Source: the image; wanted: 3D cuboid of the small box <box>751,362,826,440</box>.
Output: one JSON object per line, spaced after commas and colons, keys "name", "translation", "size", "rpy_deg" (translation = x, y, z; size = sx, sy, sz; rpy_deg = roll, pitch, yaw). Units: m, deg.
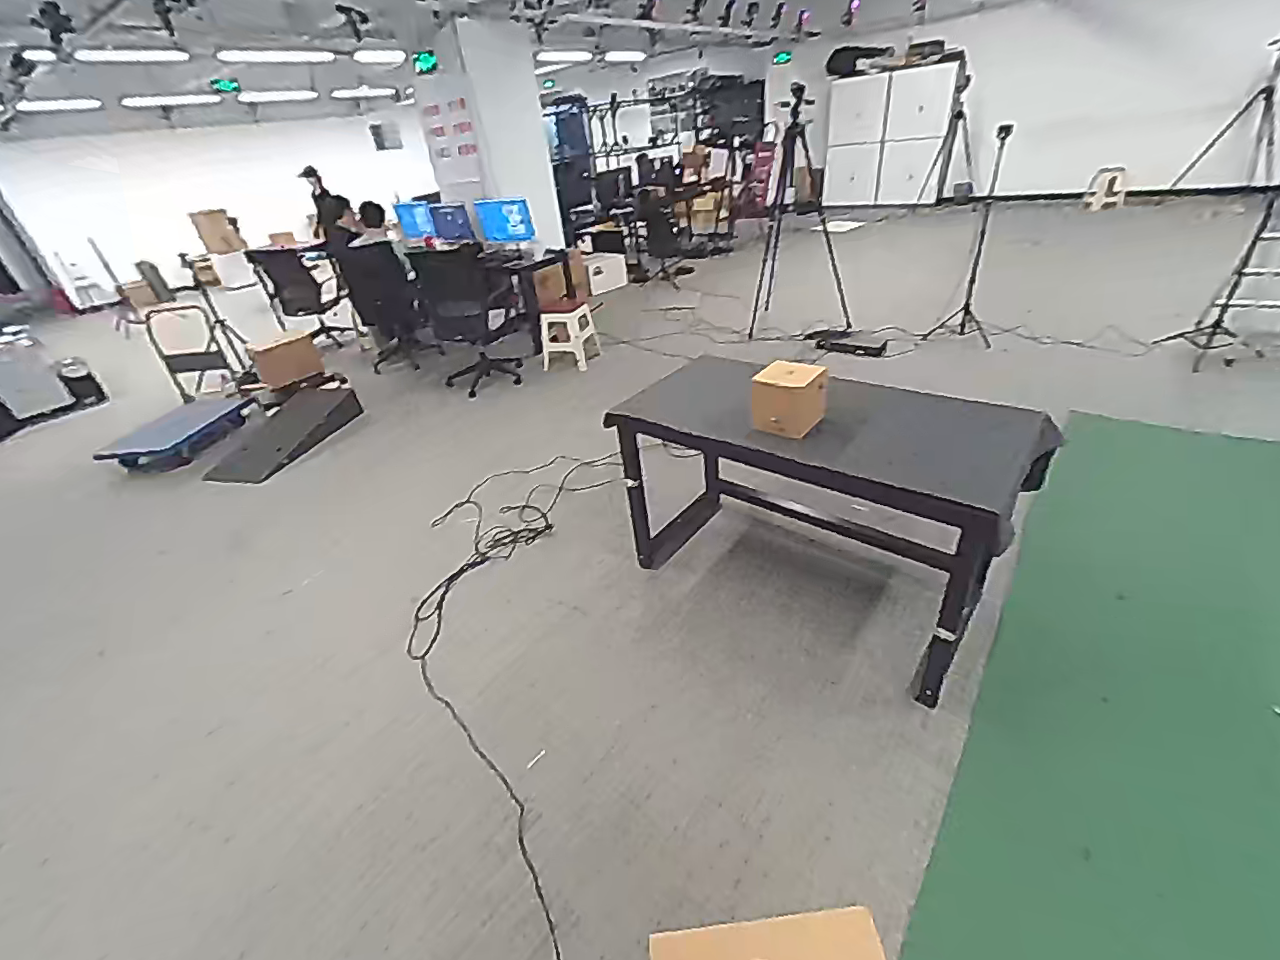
{"name": "small box", "translation": [0.453, -0.245, 1.661], "size": [0.168, 0.176, 0.179], "rpy_deg": [19, 40, 35]}
